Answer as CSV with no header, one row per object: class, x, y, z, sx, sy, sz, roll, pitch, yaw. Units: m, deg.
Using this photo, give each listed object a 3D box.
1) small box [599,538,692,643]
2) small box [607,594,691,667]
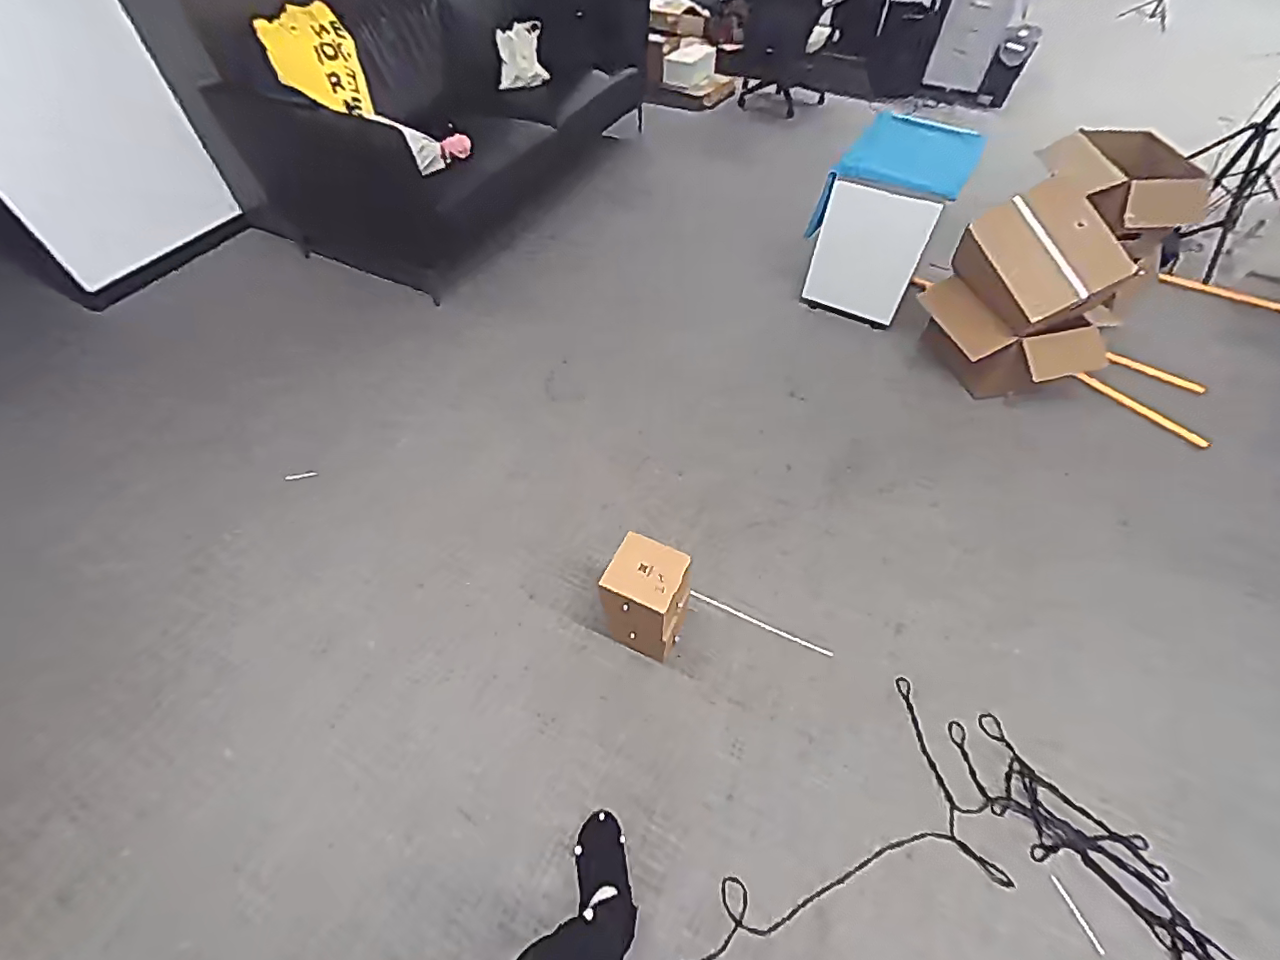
small box,0.015,0.280,1.348,0.179,0.176,0.168,21,56,16
small box,0.025,0.385,1.475,0.179,0.176,0.168,21,55,15
